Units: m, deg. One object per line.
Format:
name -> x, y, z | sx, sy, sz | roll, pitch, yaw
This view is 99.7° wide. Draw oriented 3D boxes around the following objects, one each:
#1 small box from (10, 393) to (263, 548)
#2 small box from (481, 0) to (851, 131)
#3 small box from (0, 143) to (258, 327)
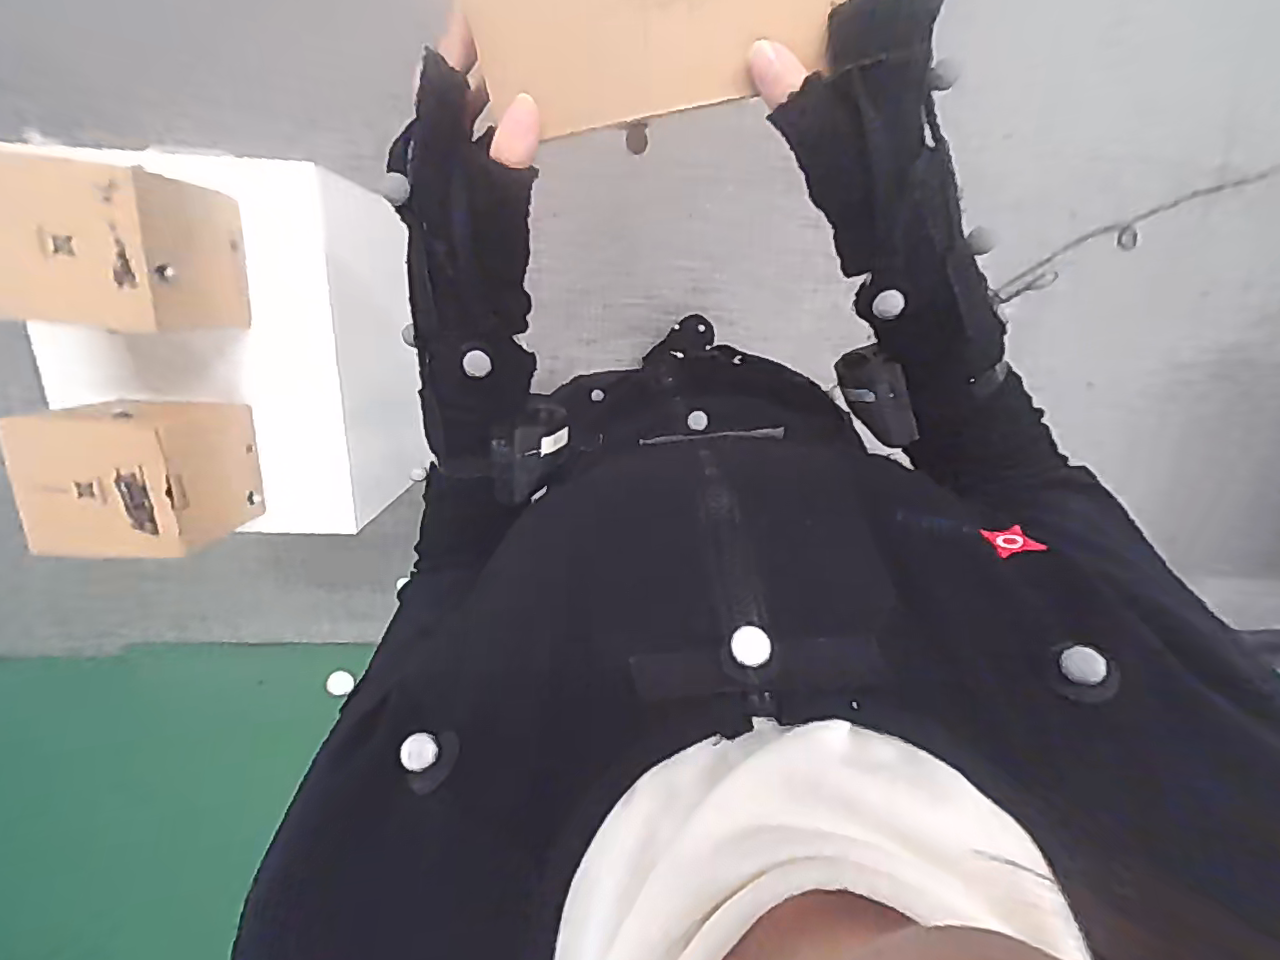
small box -> -0.635, -0.020, 0.716 | 0.179, 0.176, 0.168 | 3, 106, -3
small box -> 0.000, -0.296, 0.279 | 0.168, 0.176, 0.179 | -9, 123, 3
small box -> -0.599, -0.275, 0.638 | 0.179, 0.176, 0.168 | 5, 108, -4
